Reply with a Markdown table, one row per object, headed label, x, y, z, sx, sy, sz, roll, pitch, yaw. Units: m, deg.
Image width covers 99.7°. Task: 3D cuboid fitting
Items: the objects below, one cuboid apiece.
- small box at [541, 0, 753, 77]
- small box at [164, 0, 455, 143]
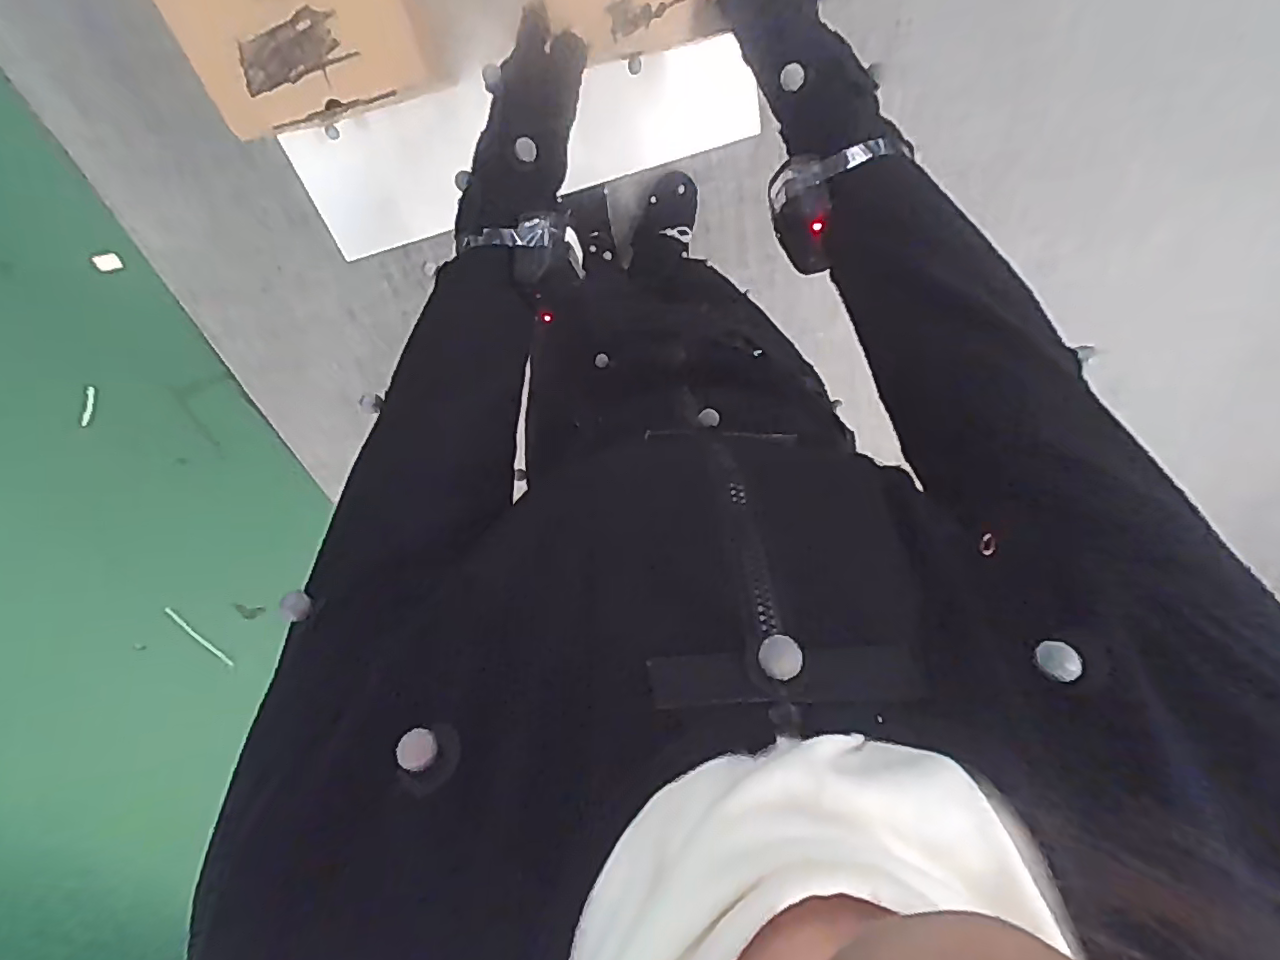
| label | x | y | z | sx | sy | sz | roll | pitch | yaw |
| --- | --- | --- | --- | --- | --- | --- | --- | --- | --- |
| small box | -0.011 | -0.464 | 0.456 | 0.168 | 0.176 | 0.179 | -12 | 125 | 0 |
| small box | -0.272 | -0.408 | 0.452 | 0.168 | 0.176 | 0.179 | -16 | 126 | 1 |
